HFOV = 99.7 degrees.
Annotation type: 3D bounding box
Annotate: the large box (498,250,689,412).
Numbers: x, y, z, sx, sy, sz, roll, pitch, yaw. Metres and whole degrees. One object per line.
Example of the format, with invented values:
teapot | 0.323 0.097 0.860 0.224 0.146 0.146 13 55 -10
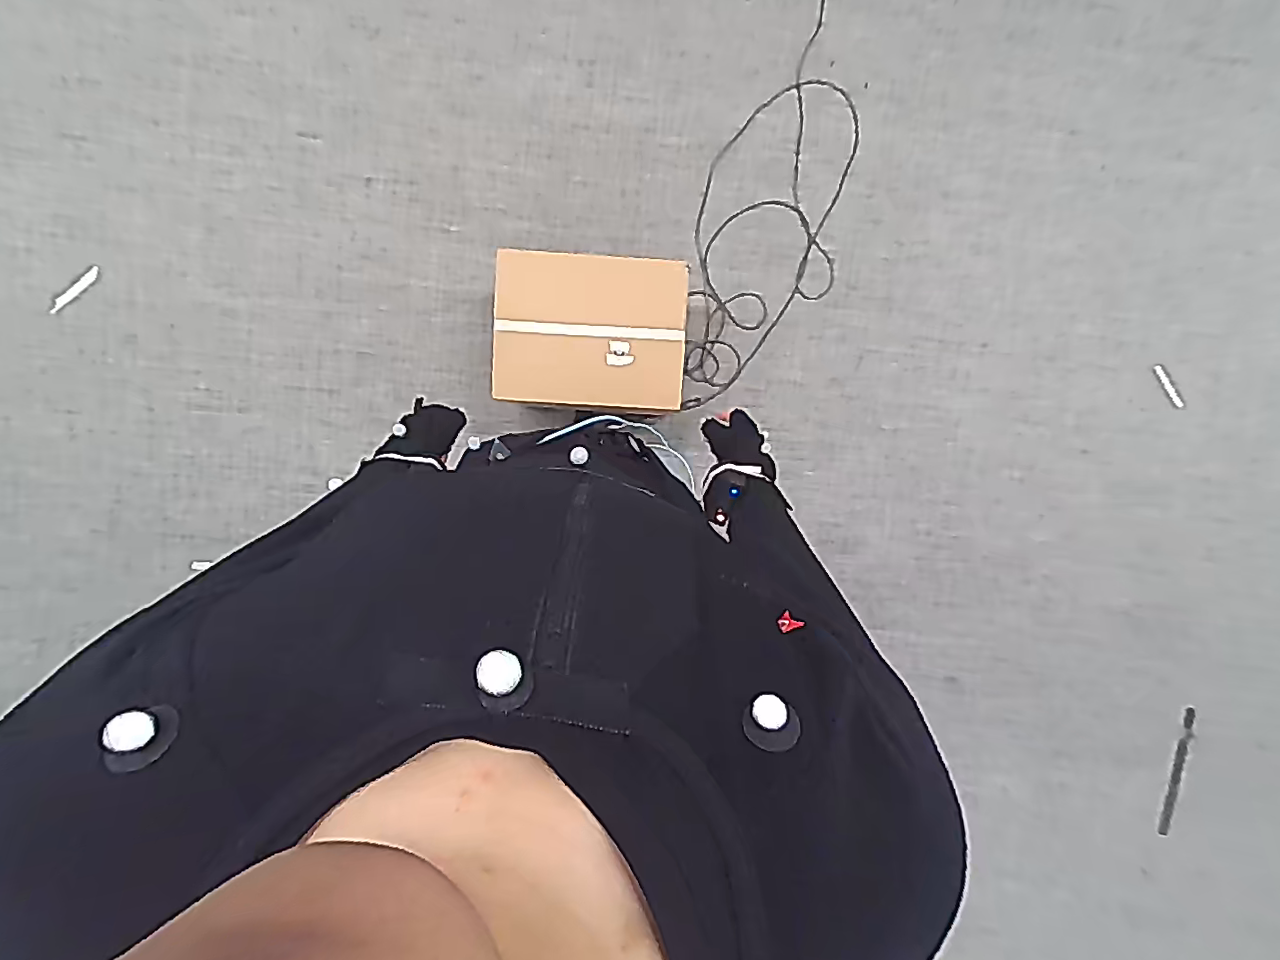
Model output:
large box | -0.108 -0.333 1.301 0.408 0.320 0.320 3 96 -2
